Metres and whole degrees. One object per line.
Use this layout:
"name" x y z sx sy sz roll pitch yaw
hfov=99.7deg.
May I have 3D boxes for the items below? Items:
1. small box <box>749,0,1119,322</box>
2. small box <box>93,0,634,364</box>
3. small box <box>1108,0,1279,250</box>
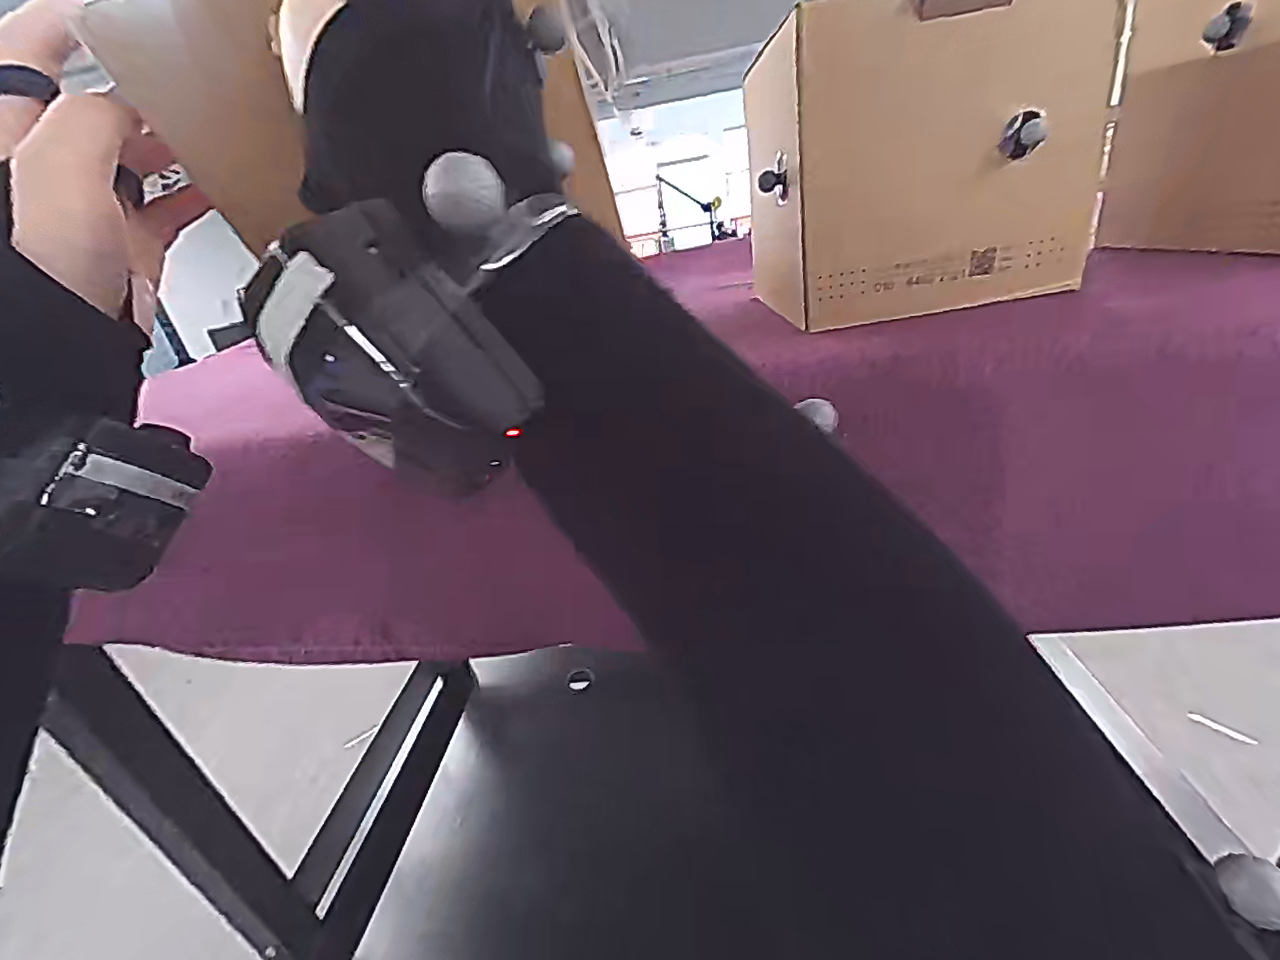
"small box" 0.175 -0.211 0.371 0.168 0.176 0.179 -8 25 5
"small box" -0.117 -0.186 0.300 0.168 0.176 0.179 -23 45 -4
"small box" 0.433 -0.238 0.319 0.168 0.176 0.179 -10 24 2
